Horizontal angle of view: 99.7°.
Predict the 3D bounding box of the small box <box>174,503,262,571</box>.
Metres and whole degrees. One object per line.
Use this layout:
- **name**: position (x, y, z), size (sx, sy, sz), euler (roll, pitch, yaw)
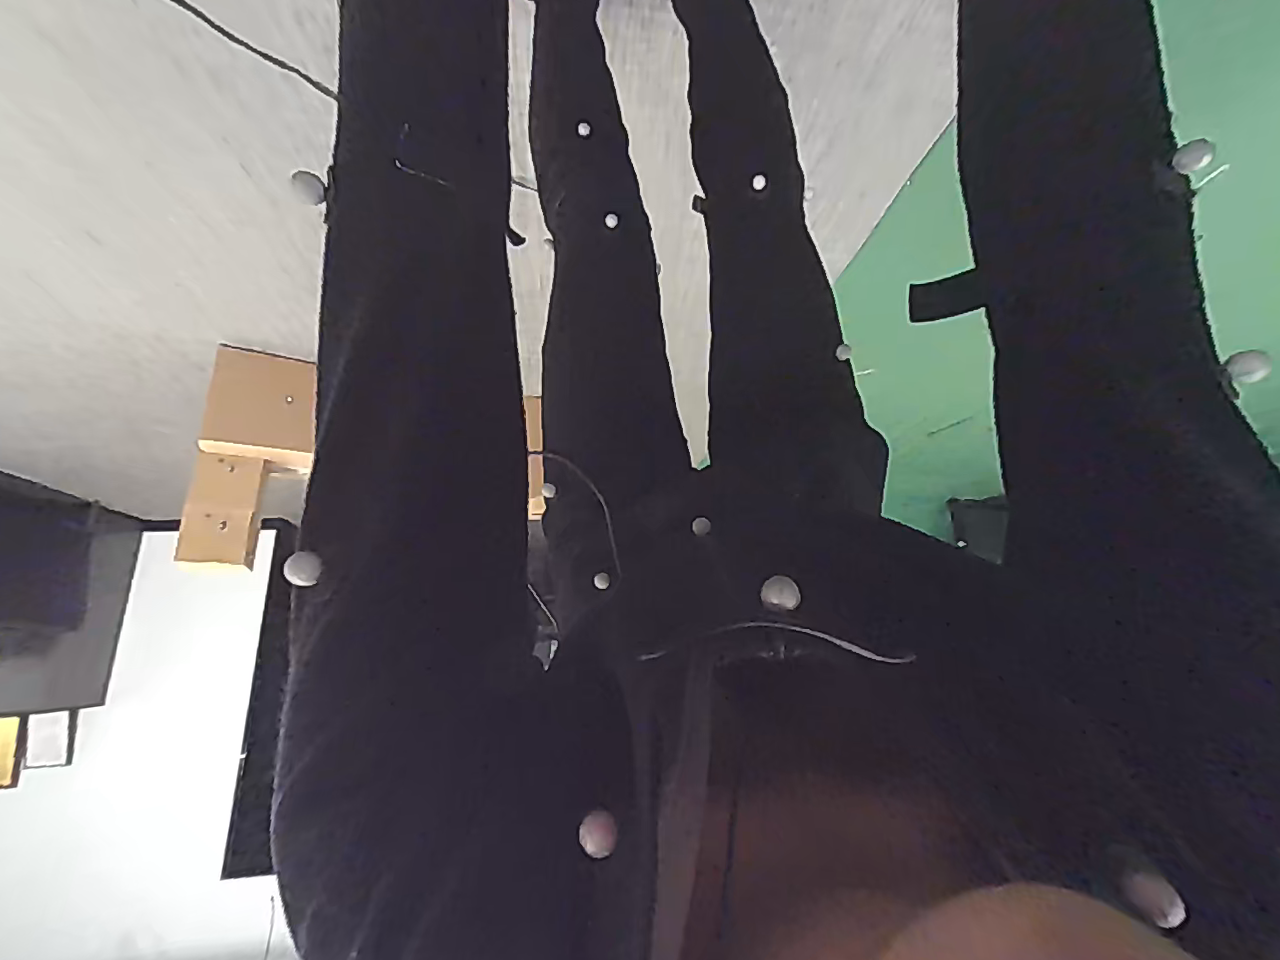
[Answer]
- **small box**: position (-1.260, 0.177, 1.627), size (0.168, 0.176, 0.179), euler (6, 160, -26)
